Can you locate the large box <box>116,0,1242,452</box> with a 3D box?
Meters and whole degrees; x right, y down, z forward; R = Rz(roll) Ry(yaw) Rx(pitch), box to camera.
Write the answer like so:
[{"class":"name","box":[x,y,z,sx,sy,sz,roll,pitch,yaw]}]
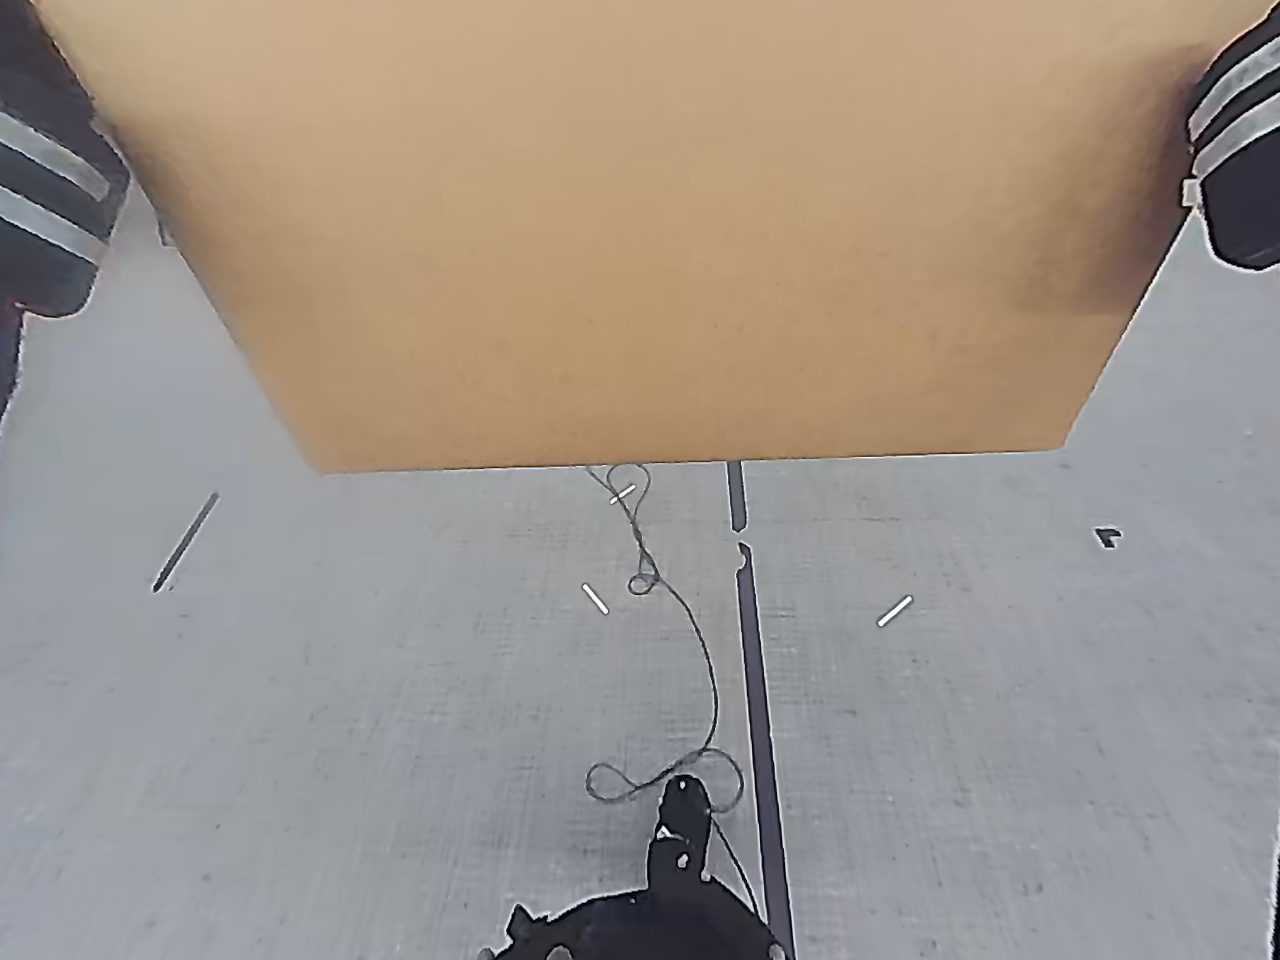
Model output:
[{"class":"large box","box":[0.015,-0.230,0.326,0.408,0.320,0.320,-1,40,2]}]
